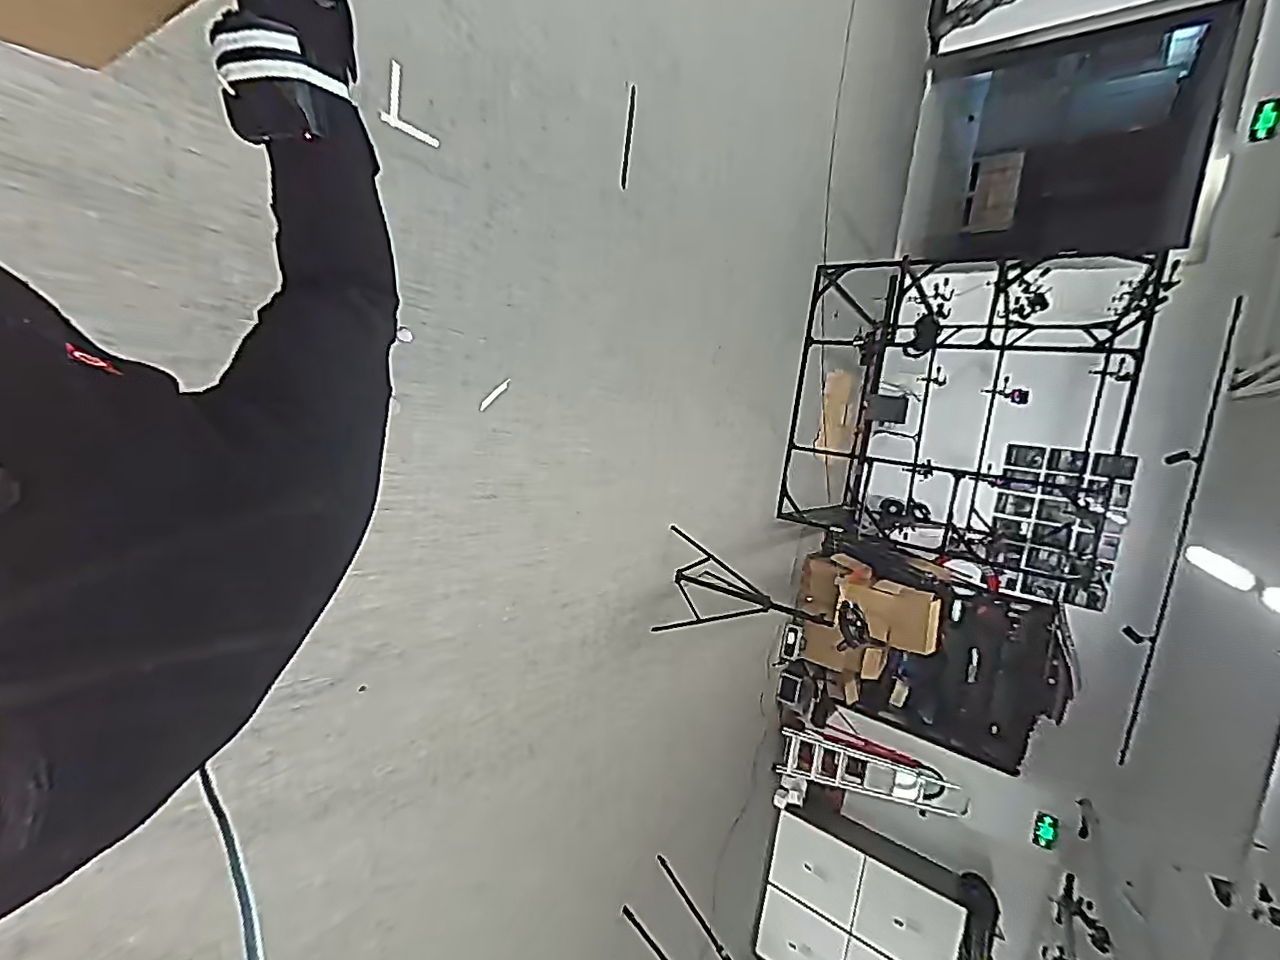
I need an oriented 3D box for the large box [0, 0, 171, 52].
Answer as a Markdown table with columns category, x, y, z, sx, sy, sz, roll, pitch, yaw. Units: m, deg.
| category | x | y | z | sx | sy | sz | roll | pitch | yaw |
| --- | --- | --- | --- | --- | --- | --- | --- | --- | --- |
| large box | -0.485 | -0.471 | 0.226 | 0.408 | 0.320 | 0.320 | -15 | 117 | -53 |
